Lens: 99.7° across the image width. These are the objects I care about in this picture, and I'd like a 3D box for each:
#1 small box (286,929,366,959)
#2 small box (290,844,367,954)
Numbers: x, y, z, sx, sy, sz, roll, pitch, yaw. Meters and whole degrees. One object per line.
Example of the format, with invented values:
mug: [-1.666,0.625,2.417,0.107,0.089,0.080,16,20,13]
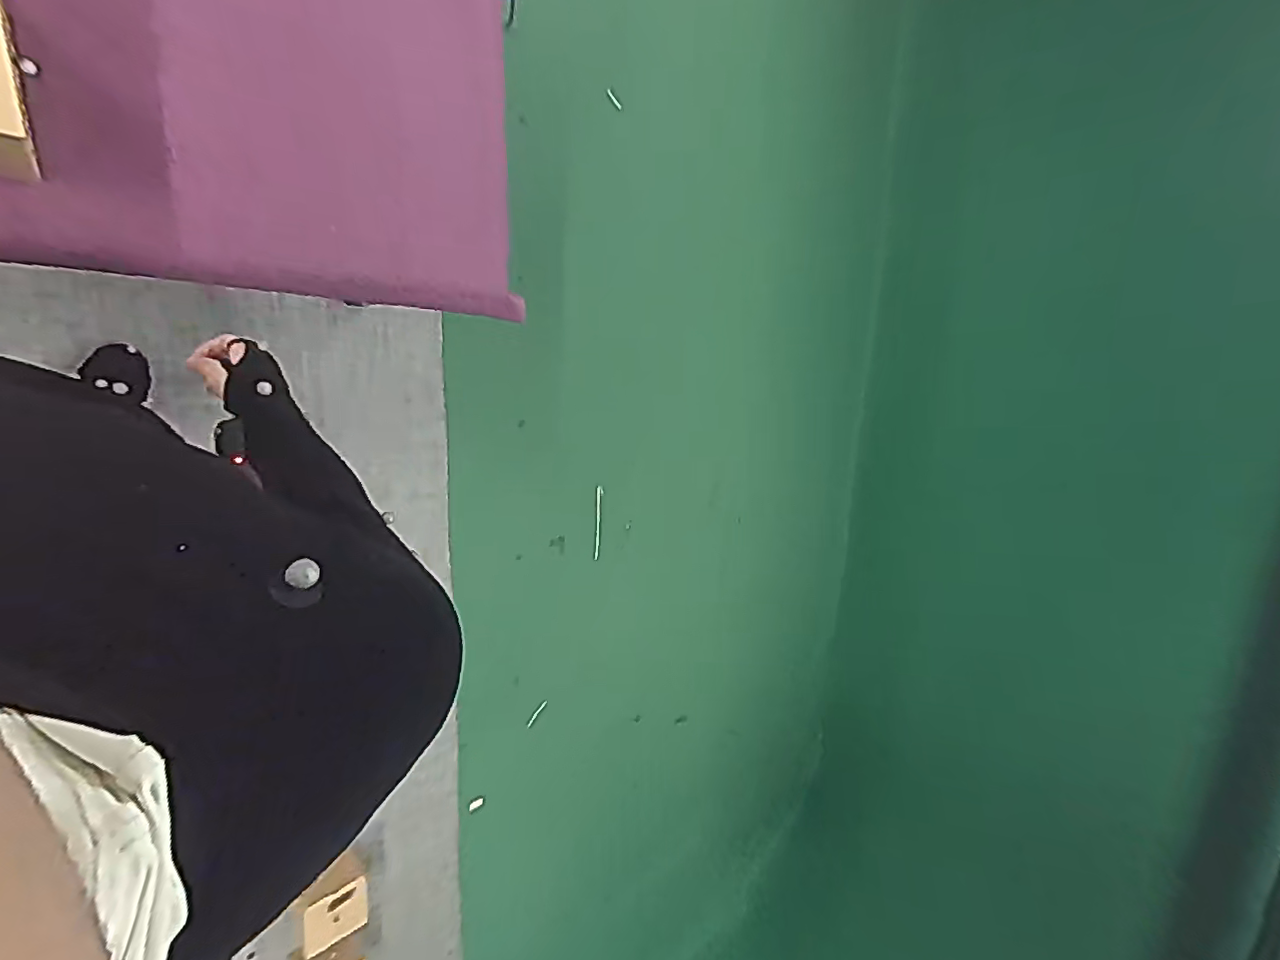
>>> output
small box: [-0.972,1.533,1.673,0.179,0.176,0.168,-5,104,-45]
small box: [-0.941,1.248,1.632,0.168,0.176,0.179,-7,106,-44]
